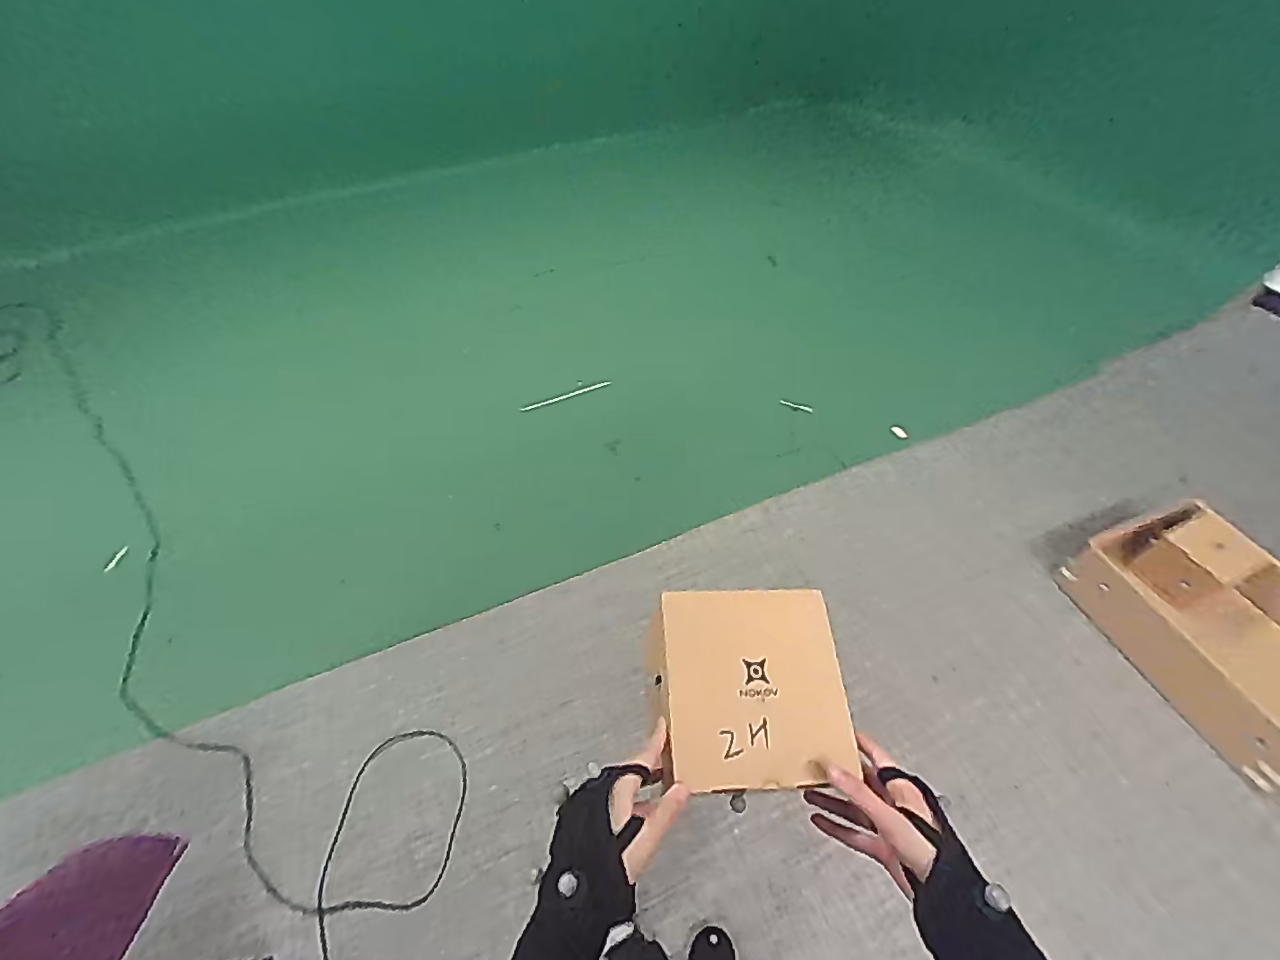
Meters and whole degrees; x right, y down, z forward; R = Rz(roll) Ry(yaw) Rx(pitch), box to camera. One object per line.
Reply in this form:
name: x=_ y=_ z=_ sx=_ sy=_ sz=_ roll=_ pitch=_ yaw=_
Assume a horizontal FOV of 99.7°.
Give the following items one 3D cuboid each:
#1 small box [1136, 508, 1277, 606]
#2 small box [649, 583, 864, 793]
small box: x=1.491 y=0.210 z=1.443 sx=0.179 sy=0.176 sz=0.168 roll=-22 pitch=54 yaw=-12
small box: x=0.099 y=0.219 z=0.559 sx=0.168 sy=0.176 sz=0.179 roll=1 pitch=59 yaw=-4
